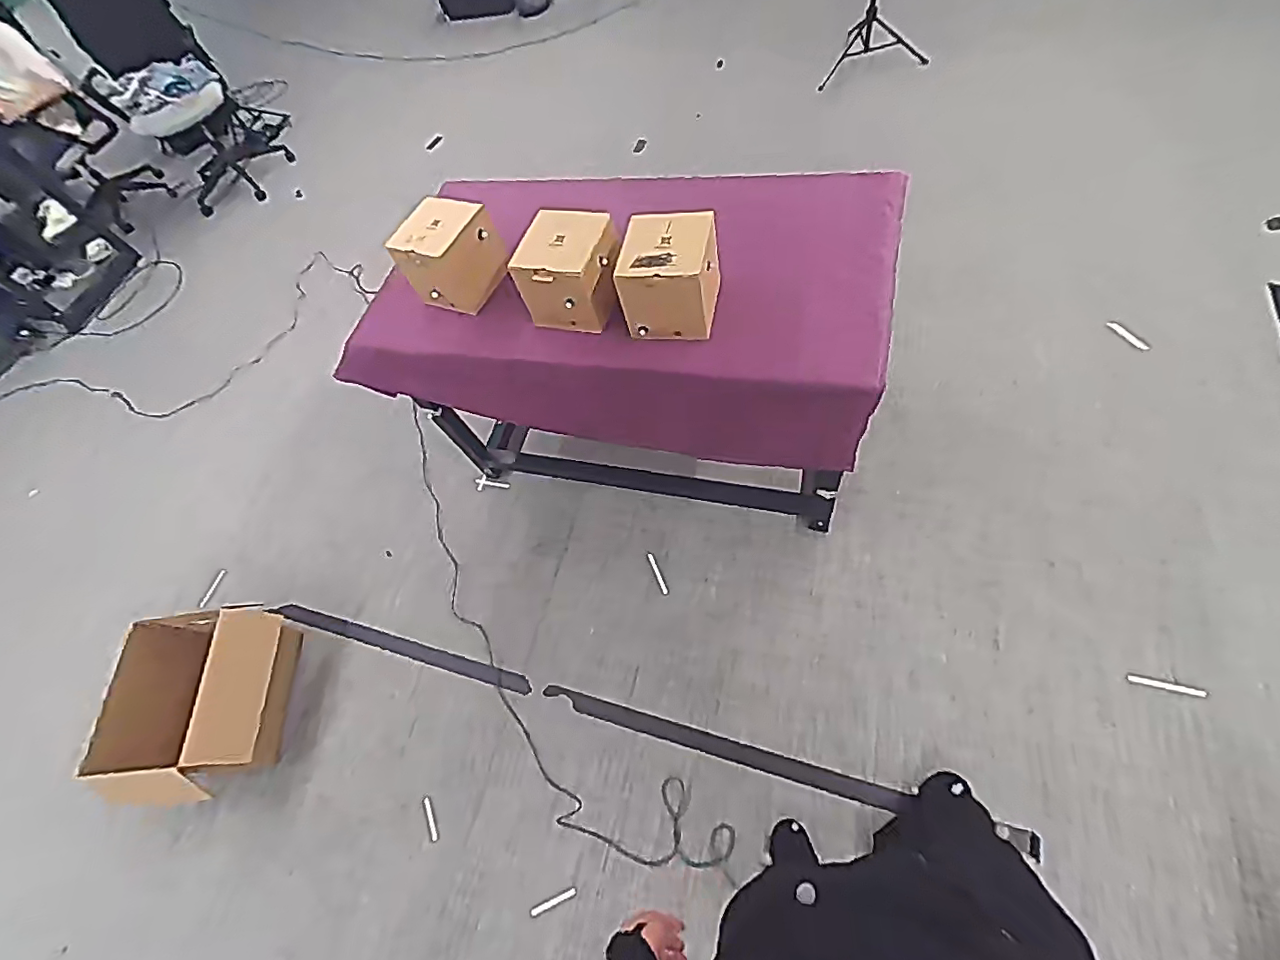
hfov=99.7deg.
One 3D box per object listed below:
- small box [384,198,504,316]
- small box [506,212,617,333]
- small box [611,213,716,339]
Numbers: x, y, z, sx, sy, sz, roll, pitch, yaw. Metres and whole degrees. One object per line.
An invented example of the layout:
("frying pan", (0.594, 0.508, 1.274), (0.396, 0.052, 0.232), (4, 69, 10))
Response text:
("small box", (-0.440, -0.514, 1.254), (0.168, 0.176, 0.179), (18, 68, 21))
("small box", (-0.150, -0.437, 1.150), (0.168, 0.176, 0.179), (13, 65, 18))
("small box", (0.057, -0.401, 1.081), (0.168, 0.176, 0.179), (5, 62, 15))
